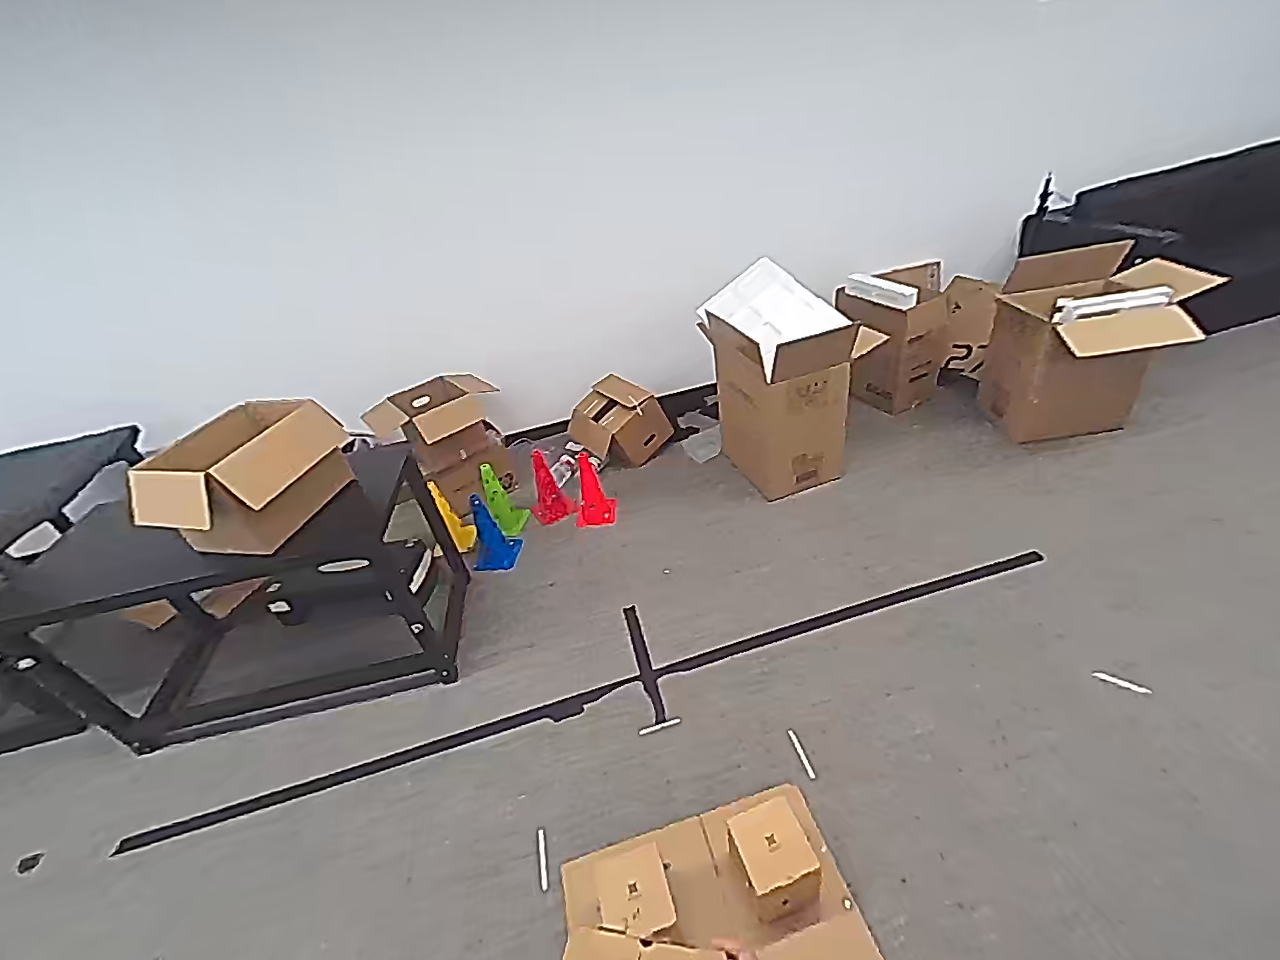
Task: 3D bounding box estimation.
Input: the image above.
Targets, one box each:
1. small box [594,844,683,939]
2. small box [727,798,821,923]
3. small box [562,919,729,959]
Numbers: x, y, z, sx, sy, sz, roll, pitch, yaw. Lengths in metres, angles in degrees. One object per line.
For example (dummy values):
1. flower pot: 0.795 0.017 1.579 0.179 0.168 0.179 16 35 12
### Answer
1. small box: -0.004 1.026 1.298 0.168 0.176 0.179 -17 35 -7
2. small box: 0.327 0.942 1.342 0.168 0.176 0.179 -18 35 -10
3. small box: 0.002 0.577 0.532 0.168 0.176 0.179 0 39 13
